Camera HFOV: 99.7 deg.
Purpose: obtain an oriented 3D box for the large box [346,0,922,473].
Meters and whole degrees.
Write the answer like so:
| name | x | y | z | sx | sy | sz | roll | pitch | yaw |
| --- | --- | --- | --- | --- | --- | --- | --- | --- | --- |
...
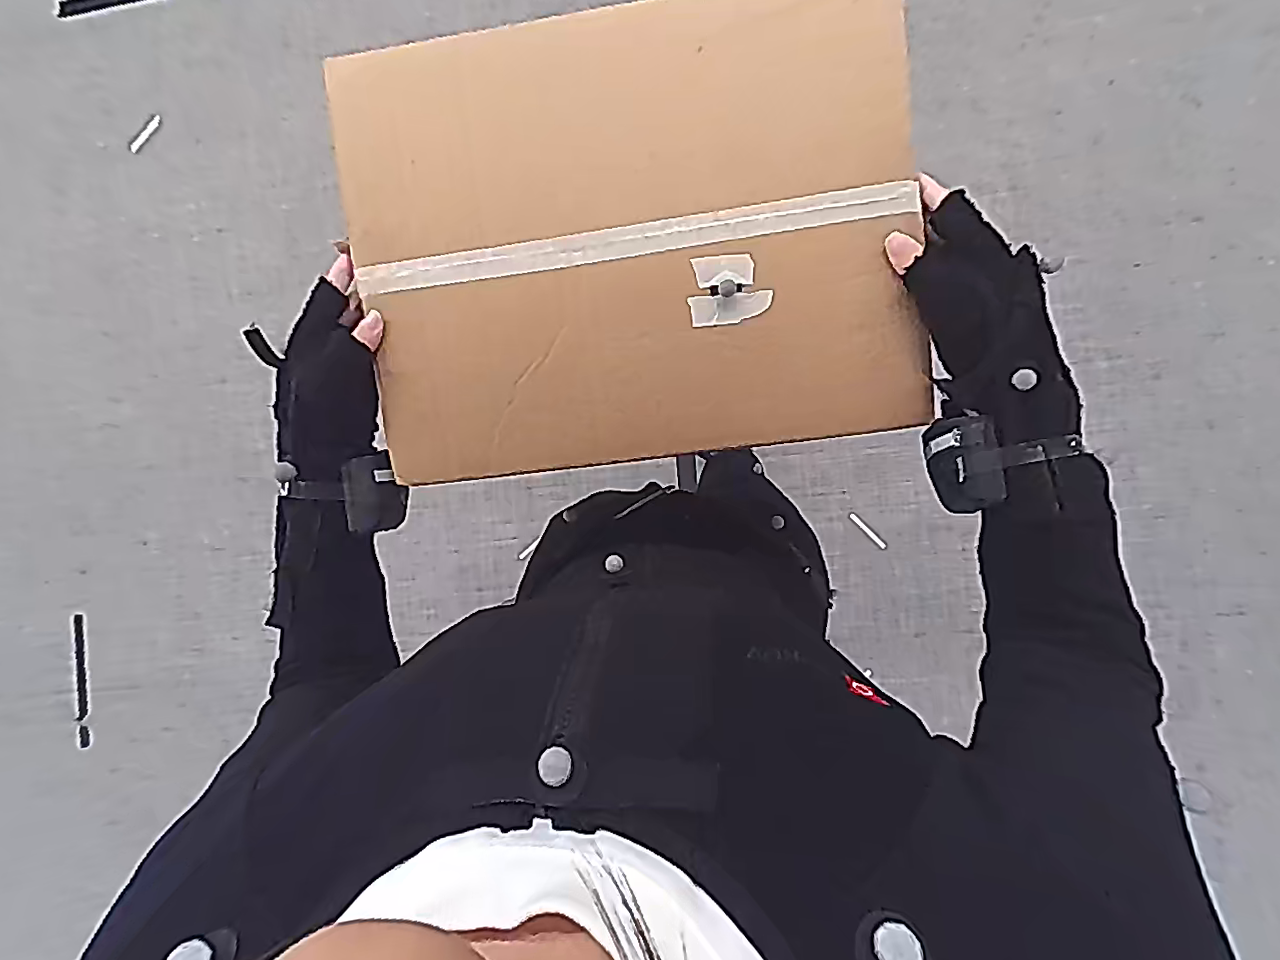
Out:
| name | x | y | z | sx | sy | sz | roll | pitch | yaw |
| --- | --- | --- | --- | --- | --- | --- | --- | --- | --- |
| large box | 0.002 | -0.198 | 0.550 | 0.408 | 0.320 | 0.320 | -7 | 97 | 4 |
